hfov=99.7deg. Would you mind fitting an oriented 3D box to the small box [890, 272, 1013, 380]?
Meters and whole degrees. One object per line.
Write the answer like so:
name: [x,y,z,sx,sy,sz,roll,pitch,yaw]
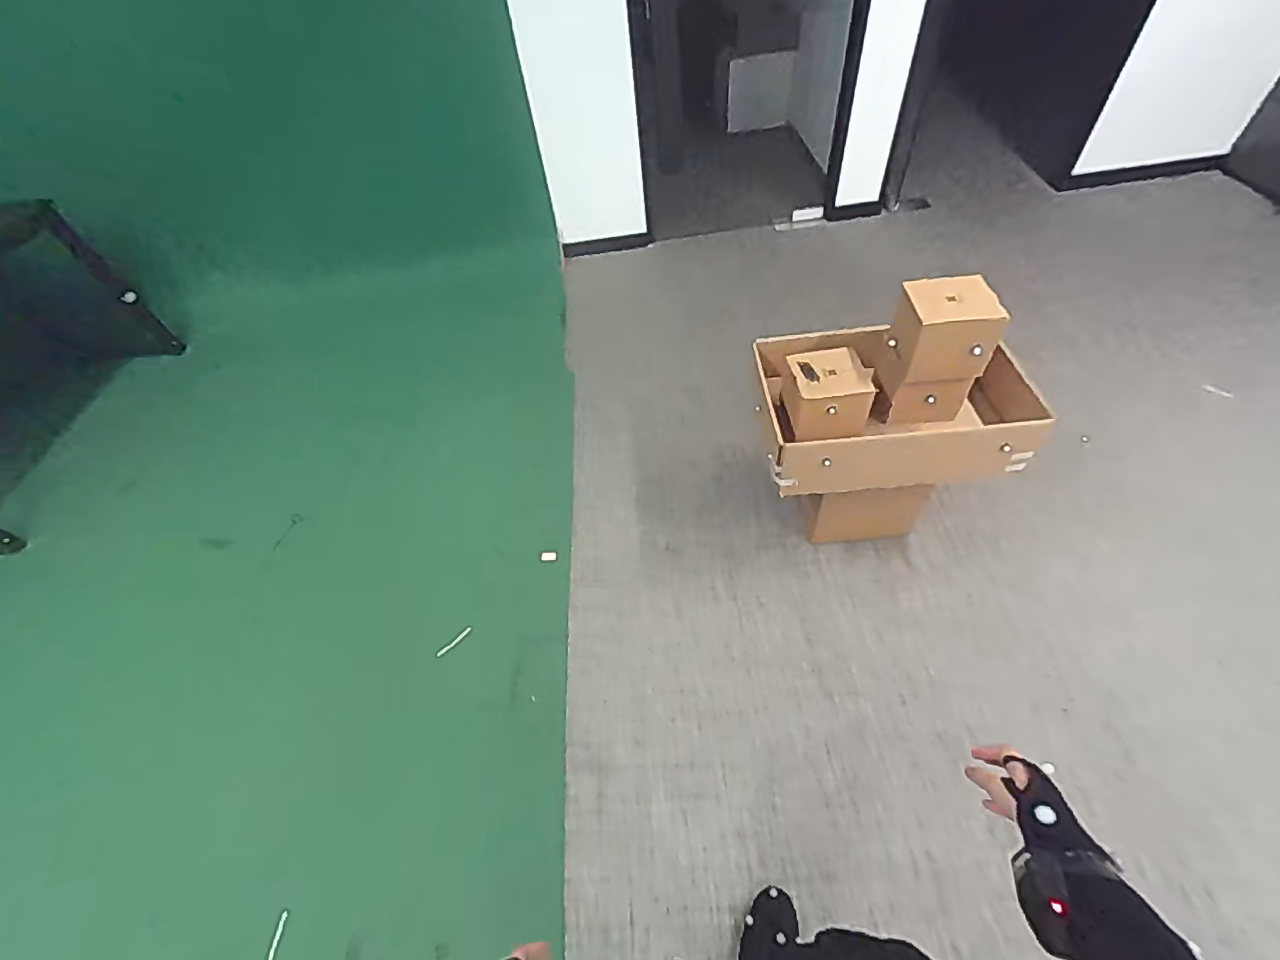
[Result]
small box: [0.698,-0.348,1.234,0.179,0.176,0.168,-4,52,7]
